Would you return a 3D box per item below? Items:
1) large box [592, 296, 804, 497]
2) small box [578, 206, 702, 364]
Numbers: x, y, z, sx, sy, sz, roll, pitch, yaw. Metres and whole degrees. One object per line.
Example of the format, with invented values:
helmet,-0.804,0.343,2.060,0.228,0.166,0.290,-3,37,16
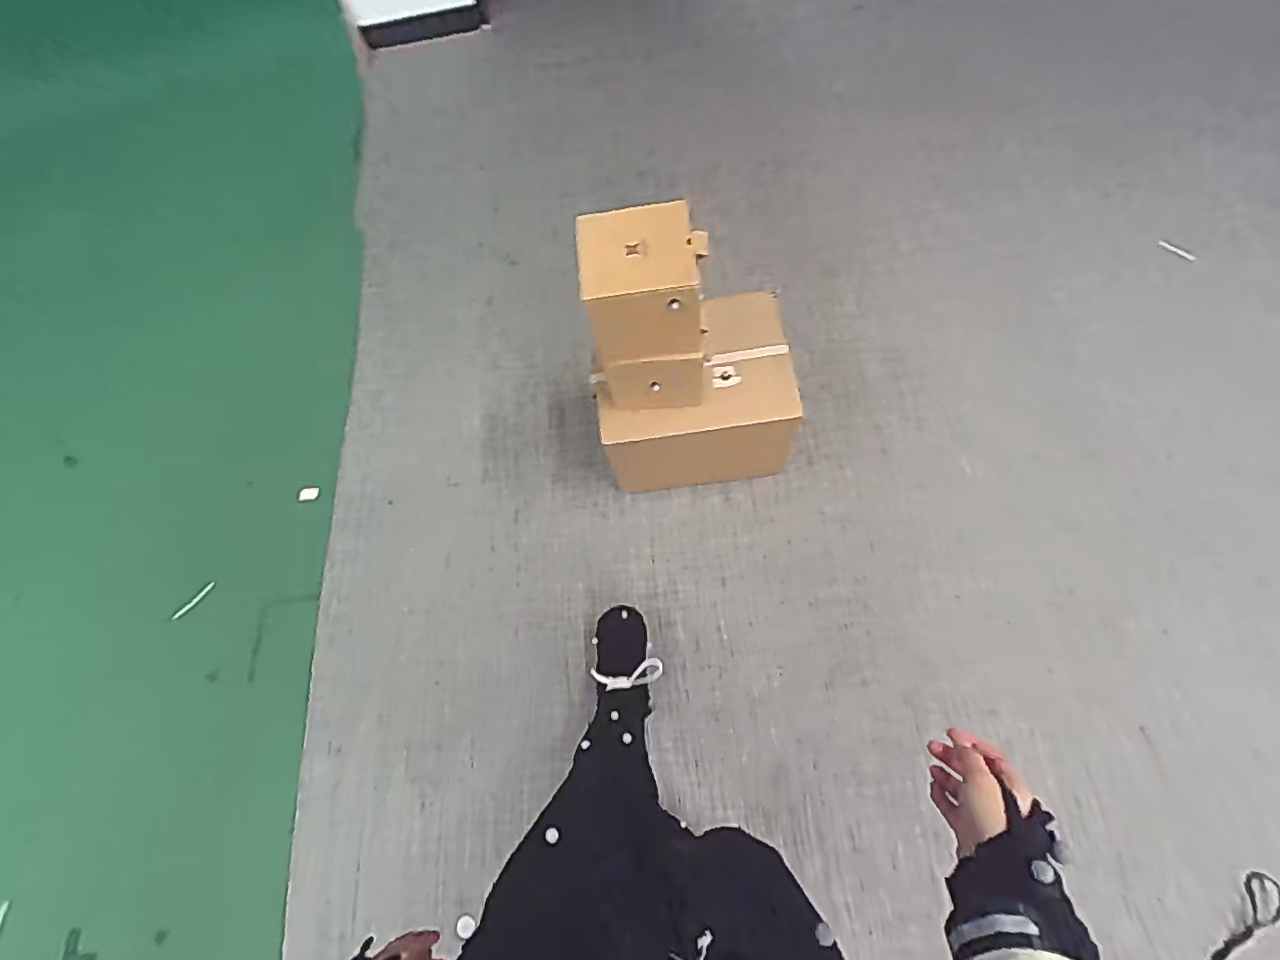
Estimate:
large box,0.120,-0.176,1.257,0.408,0.320,0.320,-8,70,2
small box,0.005,-0.307,0.882,0.179,0.176,0.168,-7,68,3
